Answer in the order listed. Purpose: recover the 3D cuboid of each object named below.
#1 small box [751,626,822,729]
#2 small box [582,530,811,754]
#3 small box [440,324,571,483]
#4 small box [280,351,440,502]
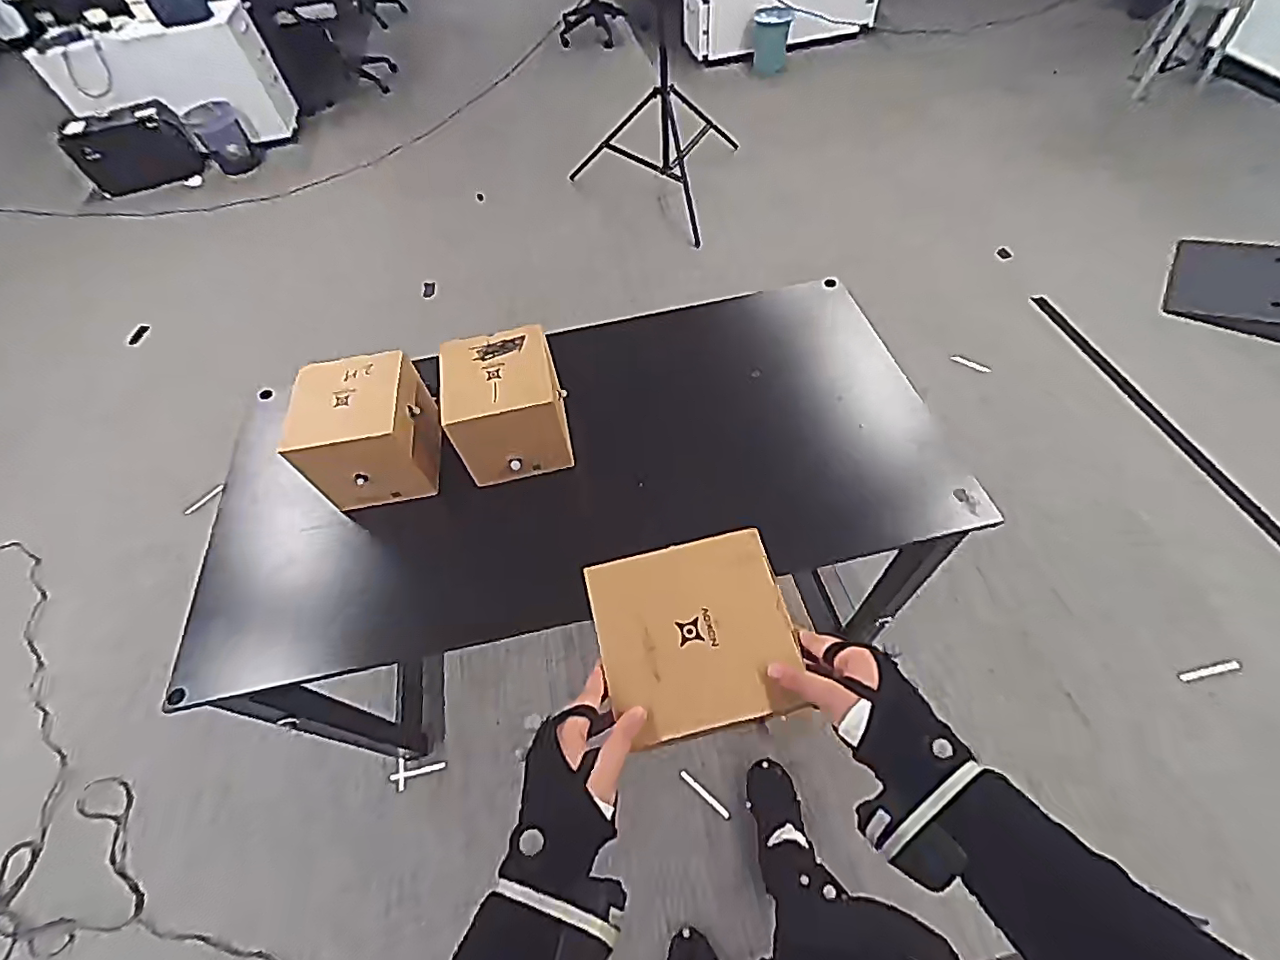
[{"bbox_3d":[0.317,0.481,1.311,0.168,0.176,0.179,-14,56,-3],"label":"small box"},{"bbox_3d":[0.050,0.174,0.559,0.179,0.176,0.168,-14,61,-2],"label":"small box"},{"bbox_3d":[-0.216,-0.121,0.886,0.168,0.176,0.179,-13,57,-3],"label":"small box"},{"bbox_3d":[-0.437,-0.077,0.877,0.168,0.176,0.179,-9,56,-2],"label":"small box"}]
